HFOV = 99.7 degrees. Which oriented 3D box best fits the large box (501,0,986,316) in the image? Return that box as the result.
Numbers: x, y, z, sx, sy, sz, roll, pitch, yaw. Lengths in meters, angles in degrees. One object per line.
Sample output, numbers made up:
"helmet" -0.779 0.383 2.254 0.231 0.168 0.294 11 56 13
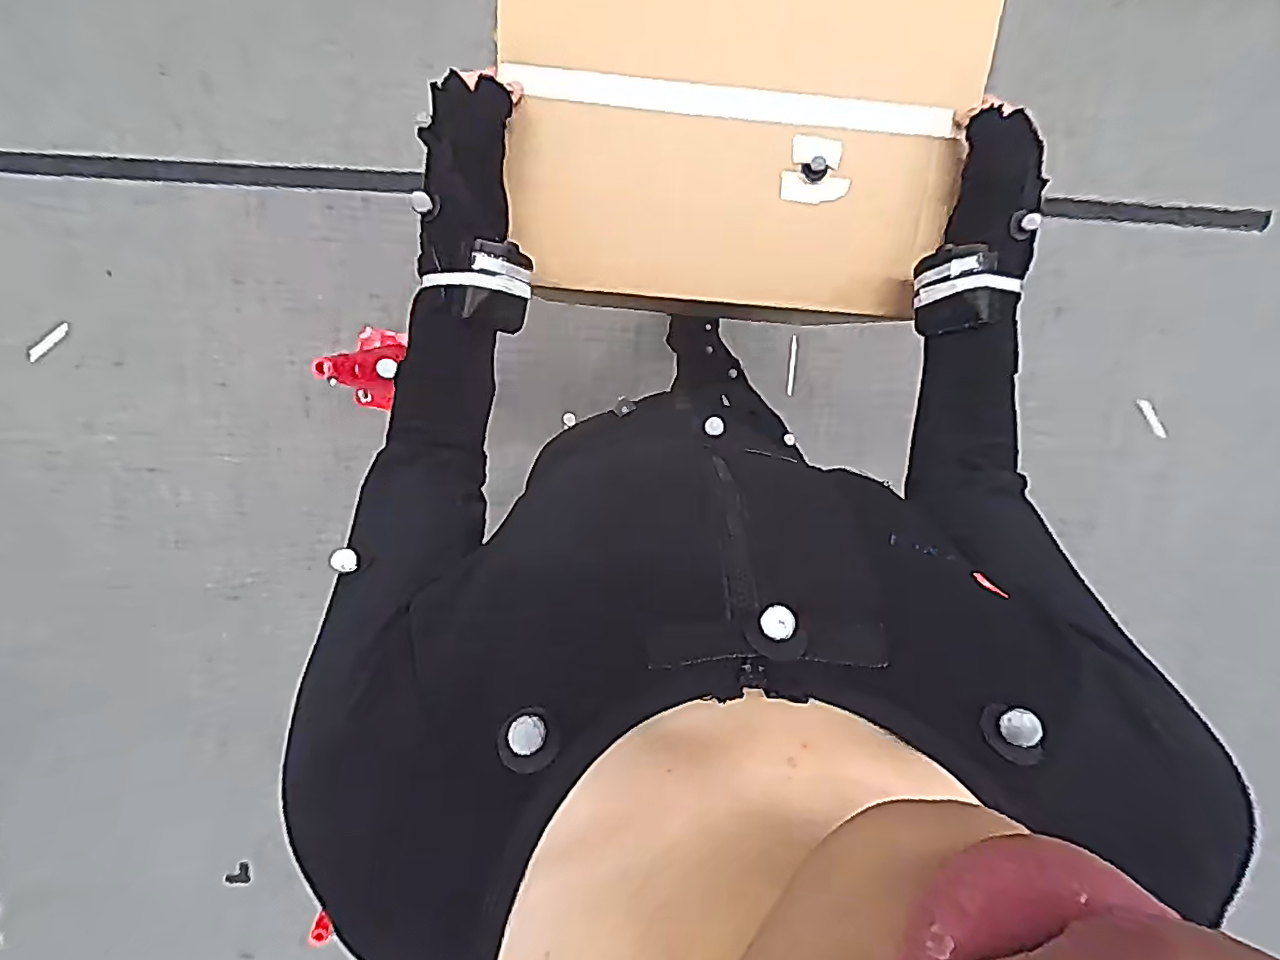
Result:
"large box" 0.074 -0.361 0.600 0.408 0.320 0.320 4 105 -4
